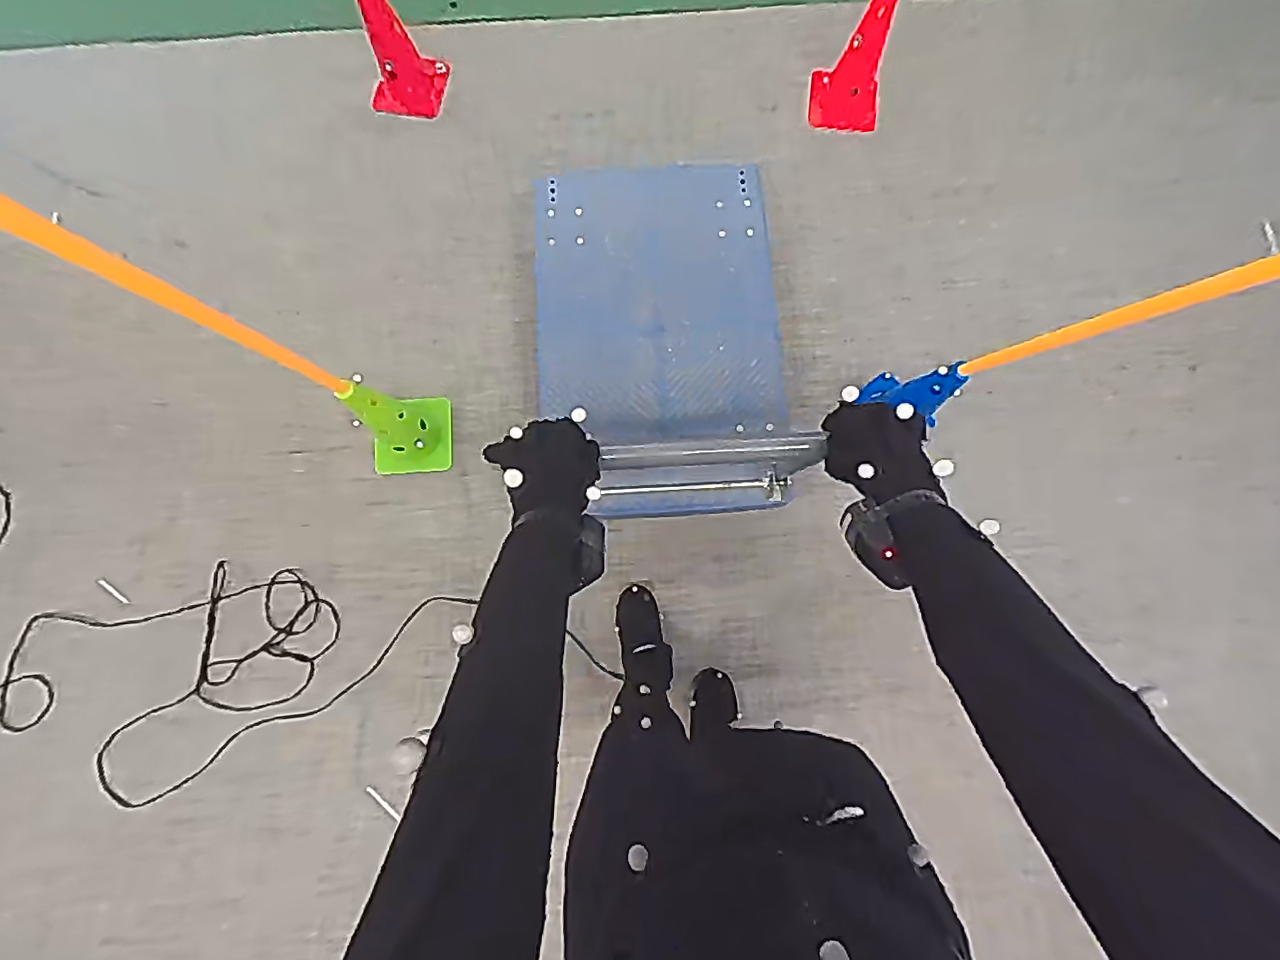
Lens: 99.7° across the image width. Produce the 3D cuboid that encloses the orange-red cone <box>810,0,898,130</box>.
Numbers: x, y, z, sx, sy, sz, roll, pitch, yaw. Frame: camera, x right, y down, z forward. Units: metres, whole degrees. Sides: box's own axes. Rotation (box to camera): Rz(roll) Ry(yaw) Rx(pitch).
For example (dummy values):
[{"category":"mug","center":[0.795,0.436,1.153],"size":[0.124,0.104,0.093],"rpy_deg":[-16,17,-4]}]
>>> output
[{"category":"orange-red cone","center":[0.602,-1.154,1.427],"size":[0.198,0.360,0.199],"rpy_deg":[8,81,3]}]
